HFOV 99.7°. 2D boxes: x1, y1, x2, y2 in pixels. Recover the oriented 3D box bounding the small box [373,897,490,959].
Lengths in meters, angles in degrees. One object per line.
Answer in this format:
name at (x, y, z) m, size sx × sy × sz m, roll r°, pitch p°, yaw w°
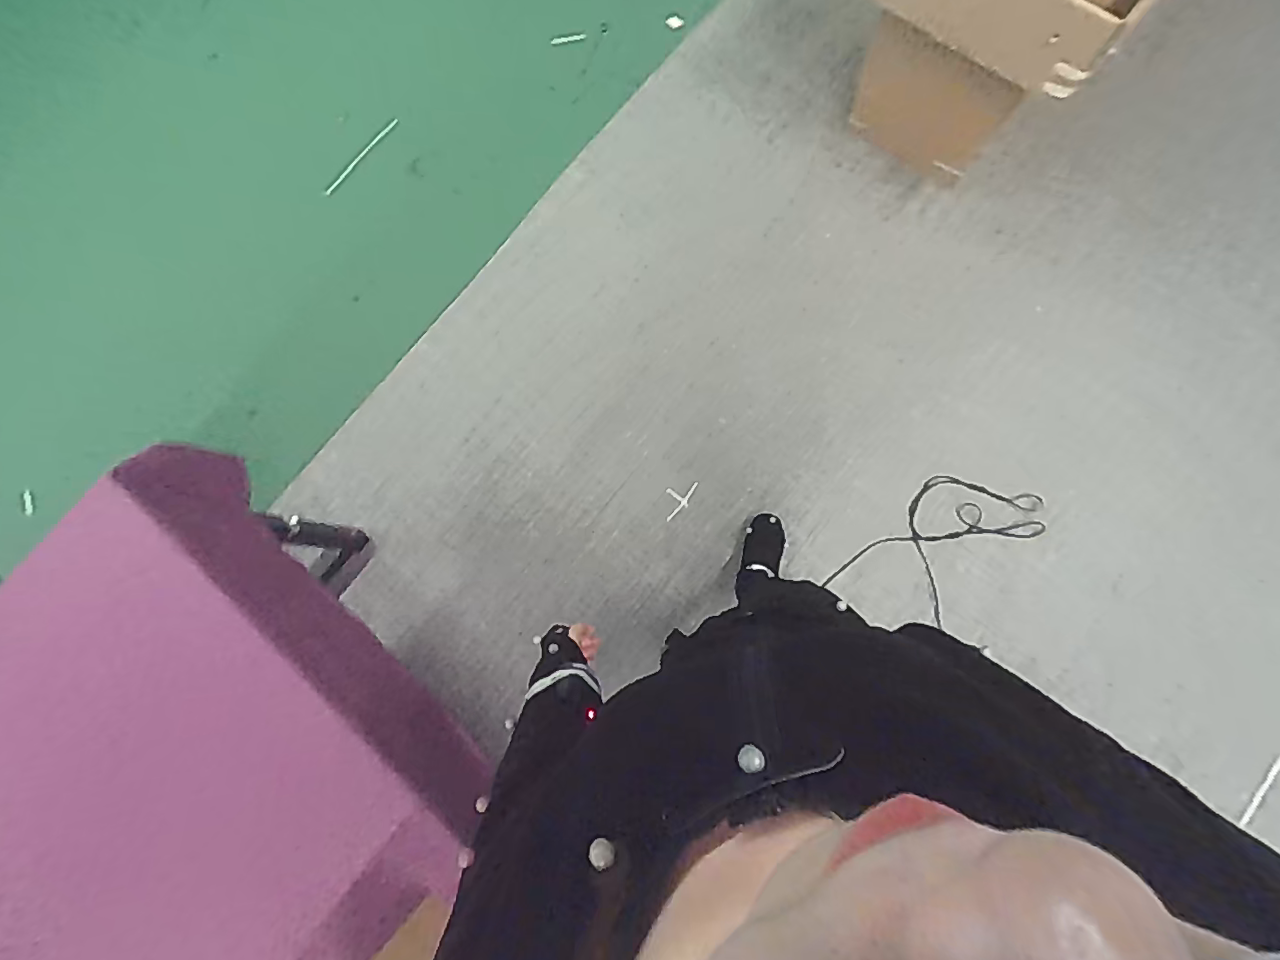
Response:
small box at (-0.285, 0.665, 0.648) m, size 0.168 × 0.176 × 0.179 m, roll 38°, pitch 85°, yaw 13°
